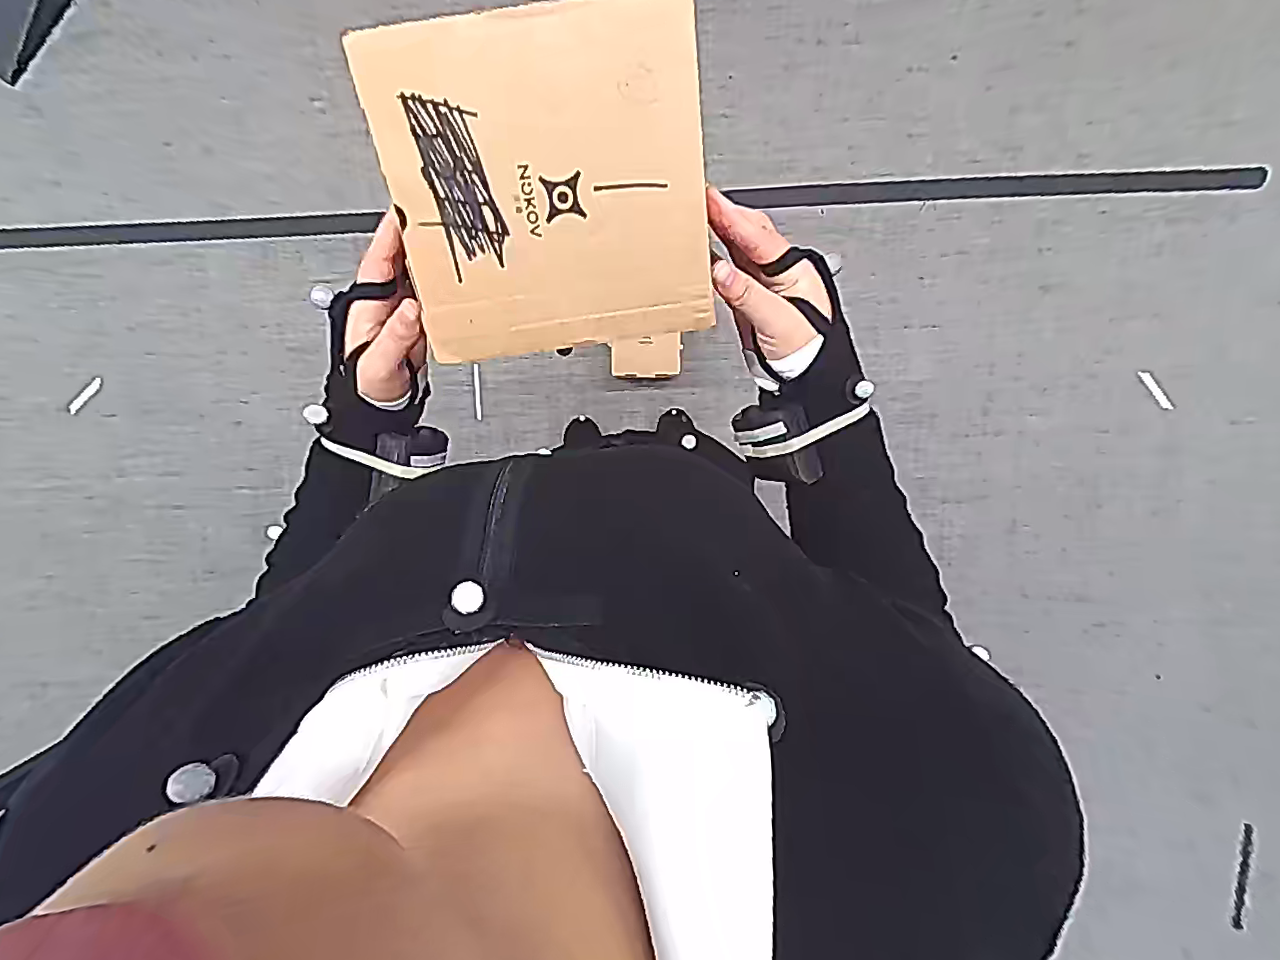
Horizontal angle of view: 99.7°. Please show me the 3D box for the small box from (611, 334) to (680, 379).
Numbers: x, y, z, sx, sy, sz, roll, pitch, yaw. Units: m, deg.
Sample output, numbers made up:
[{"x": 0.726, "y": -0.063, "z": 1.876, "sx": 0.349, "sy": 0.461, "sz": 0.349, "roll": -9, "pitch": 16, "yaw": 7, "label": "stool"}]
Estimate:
[{"x": 0.015, "y": -0.344, "z": 1.360, "sx": 0.168, "sy": 0.176, "sz": 0.179, "roll": 0, "pitch": 100, "yaw": 1, "label": "small box"}]

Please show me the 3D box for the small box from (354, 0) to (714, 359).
[{"x": -0.050, "y": -0.188, "z": 0.370, "sx": 0.179, "sy": 0.176, "sz": 0.168, "roll": -6, "pitch": 115, "yaw": 2, "label": "small box"}]
